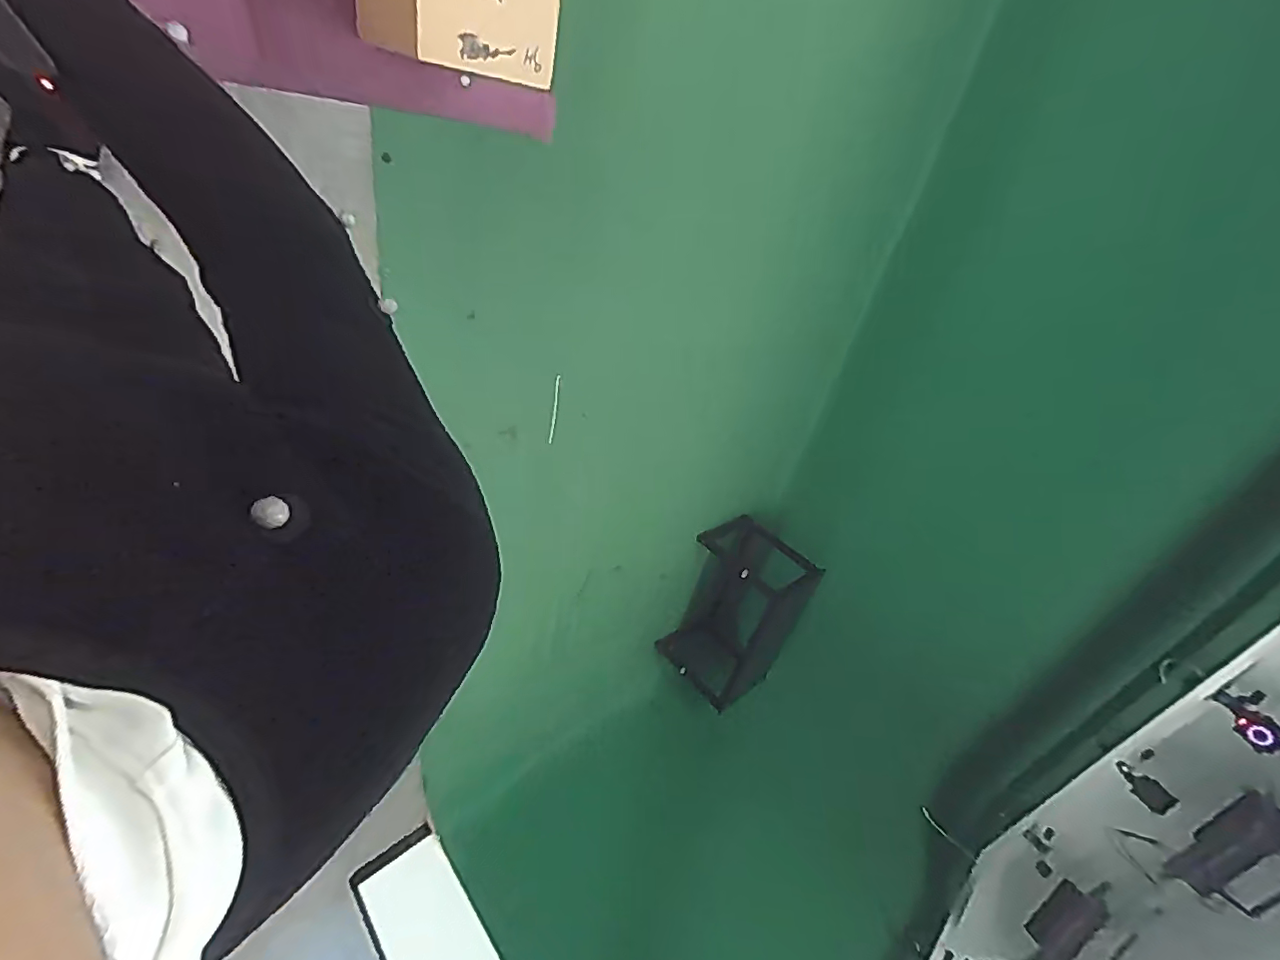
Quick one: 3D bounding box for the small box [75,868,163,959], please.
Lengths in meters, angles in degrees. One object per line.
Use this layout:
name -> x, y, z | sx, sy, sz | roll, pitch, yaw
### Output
small box -> -1.479, 1.256, 1.538 | 0.168, 0.176, 0.179 | -7, 128, -46

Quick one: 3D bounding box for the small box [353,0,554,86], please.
small box -> -0.207, -0.567, 0.594 | 0.168, 0.176, 0.179 | -17, 136, -38
